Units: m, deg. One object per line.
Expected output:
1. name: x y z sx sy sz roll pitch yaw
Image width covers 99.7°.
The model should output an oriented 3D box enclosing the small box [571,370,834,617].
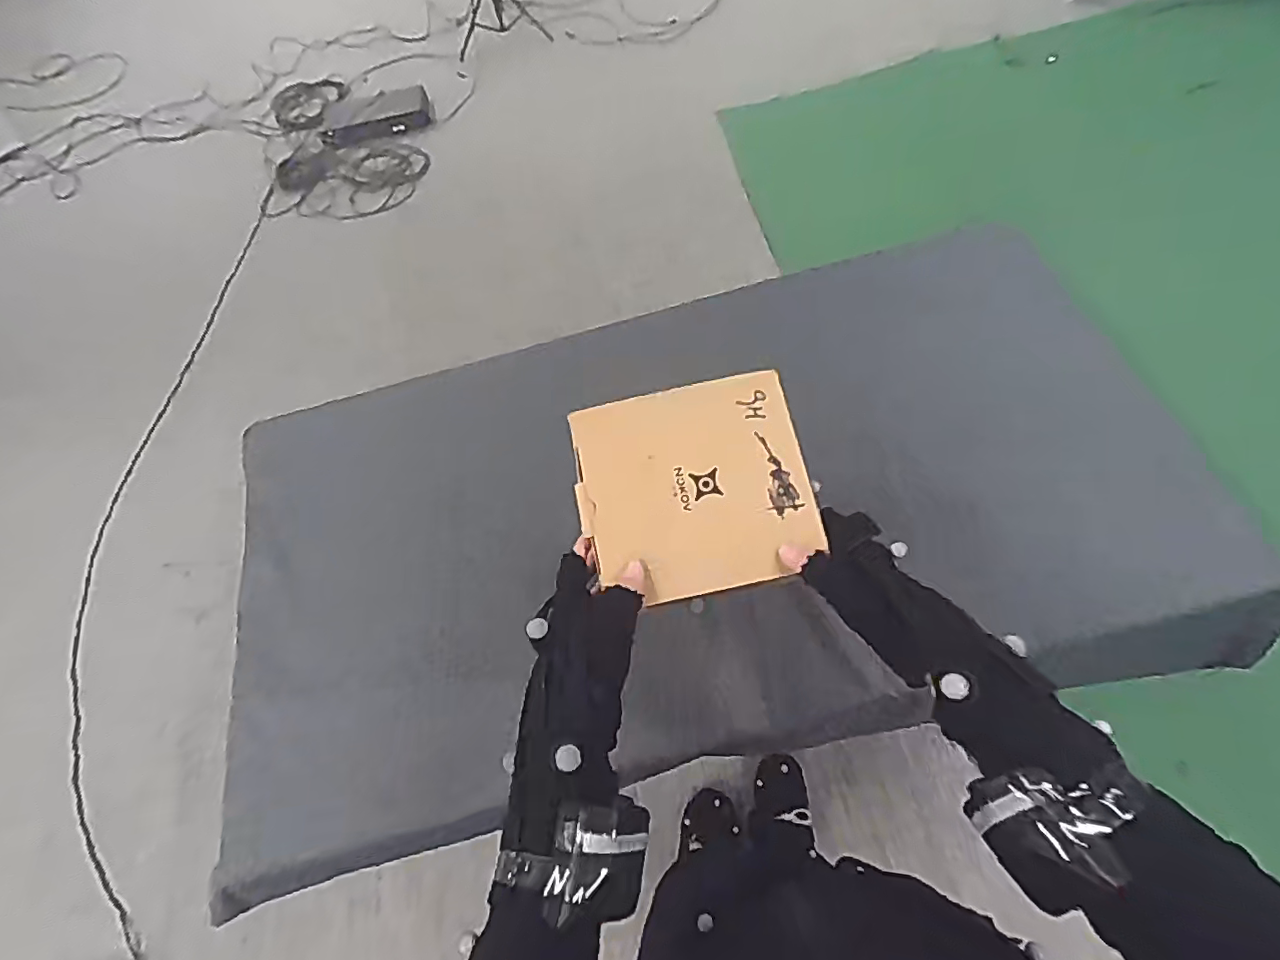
1. small box: 0.049 0.026 0.502 0.179 0.176 0.168 -14 74 -2
